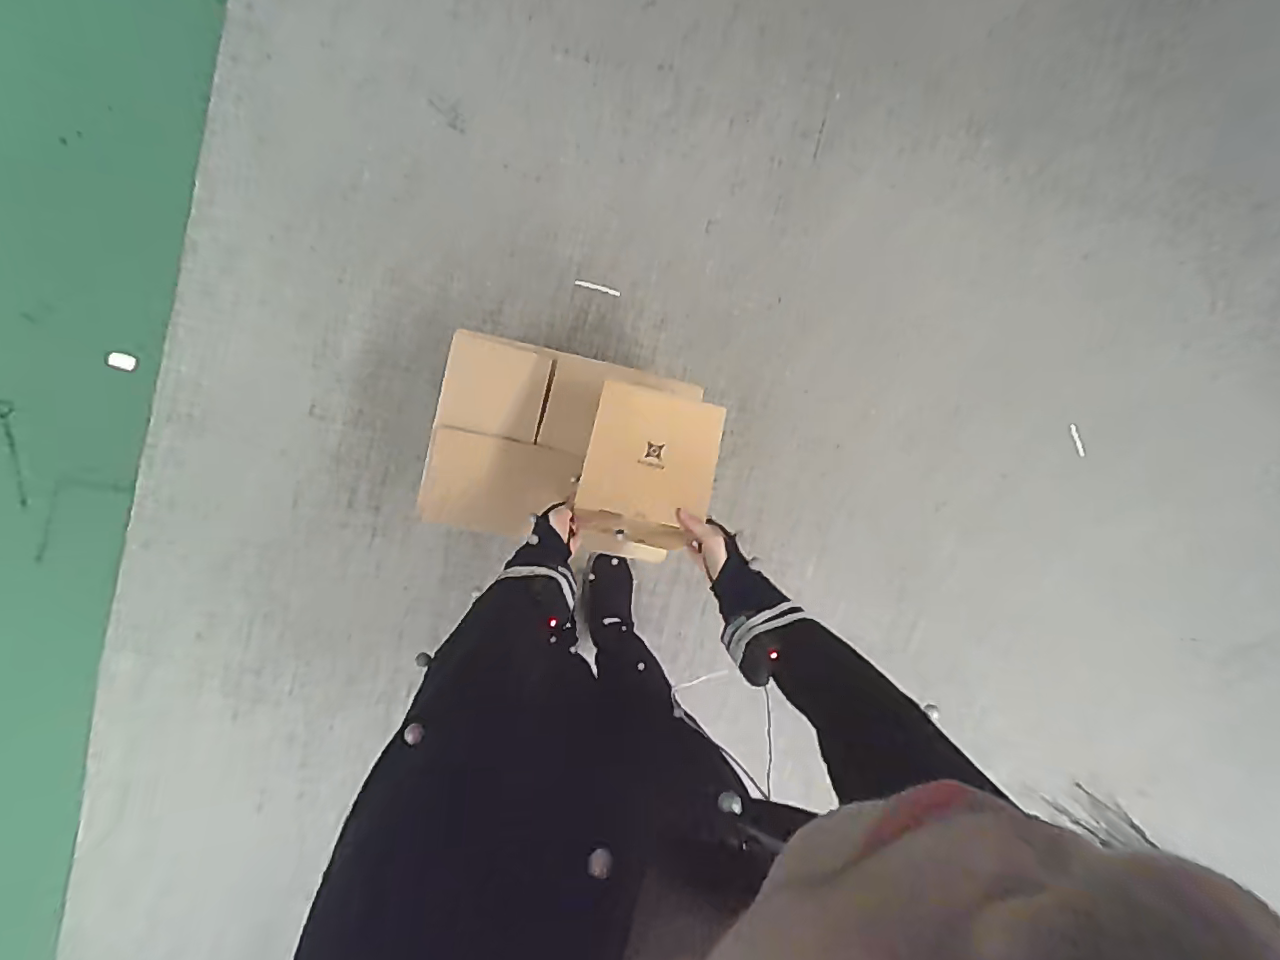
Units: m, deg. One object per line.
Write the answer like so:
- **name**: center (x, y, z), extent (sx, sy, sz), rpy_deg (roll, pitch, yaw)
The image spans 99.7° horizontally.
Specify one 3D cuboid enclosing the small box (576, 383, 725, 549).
- **small box**: center (0.009, -0.010, 0.764), extent (0.168, 0.176, 0.179), rpy_deg (13, 77, -2)
